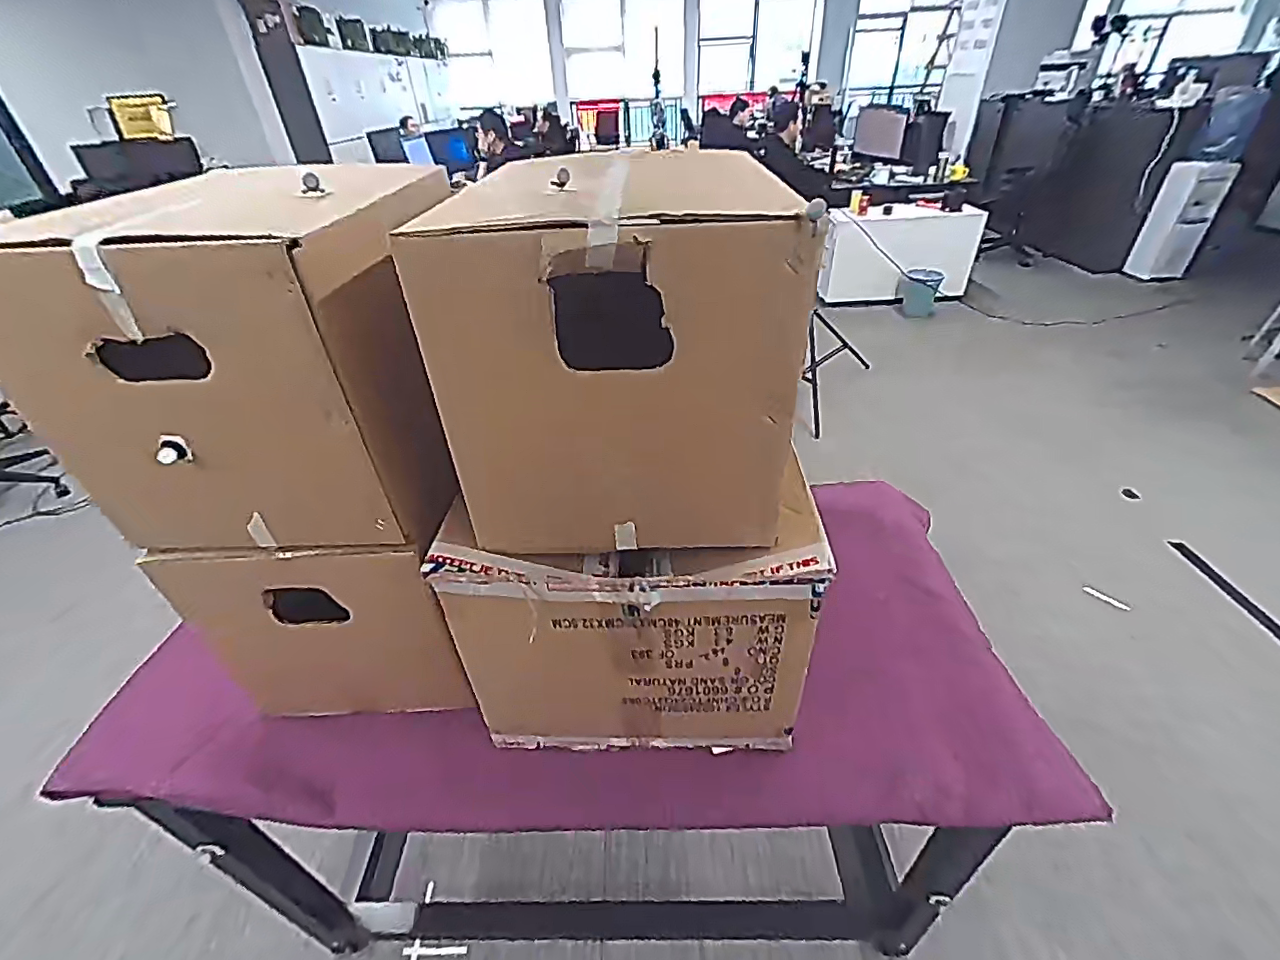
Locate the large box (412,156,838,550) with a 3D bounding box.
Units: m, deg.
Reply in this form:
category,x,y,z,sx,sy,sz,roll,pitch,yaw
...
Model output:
category,x,y,z,sx,sy,sz,roll,pitch,yaw
large box,-0.009,-0.170,0.627,0.320,0.320,0.408,-3,37,2
